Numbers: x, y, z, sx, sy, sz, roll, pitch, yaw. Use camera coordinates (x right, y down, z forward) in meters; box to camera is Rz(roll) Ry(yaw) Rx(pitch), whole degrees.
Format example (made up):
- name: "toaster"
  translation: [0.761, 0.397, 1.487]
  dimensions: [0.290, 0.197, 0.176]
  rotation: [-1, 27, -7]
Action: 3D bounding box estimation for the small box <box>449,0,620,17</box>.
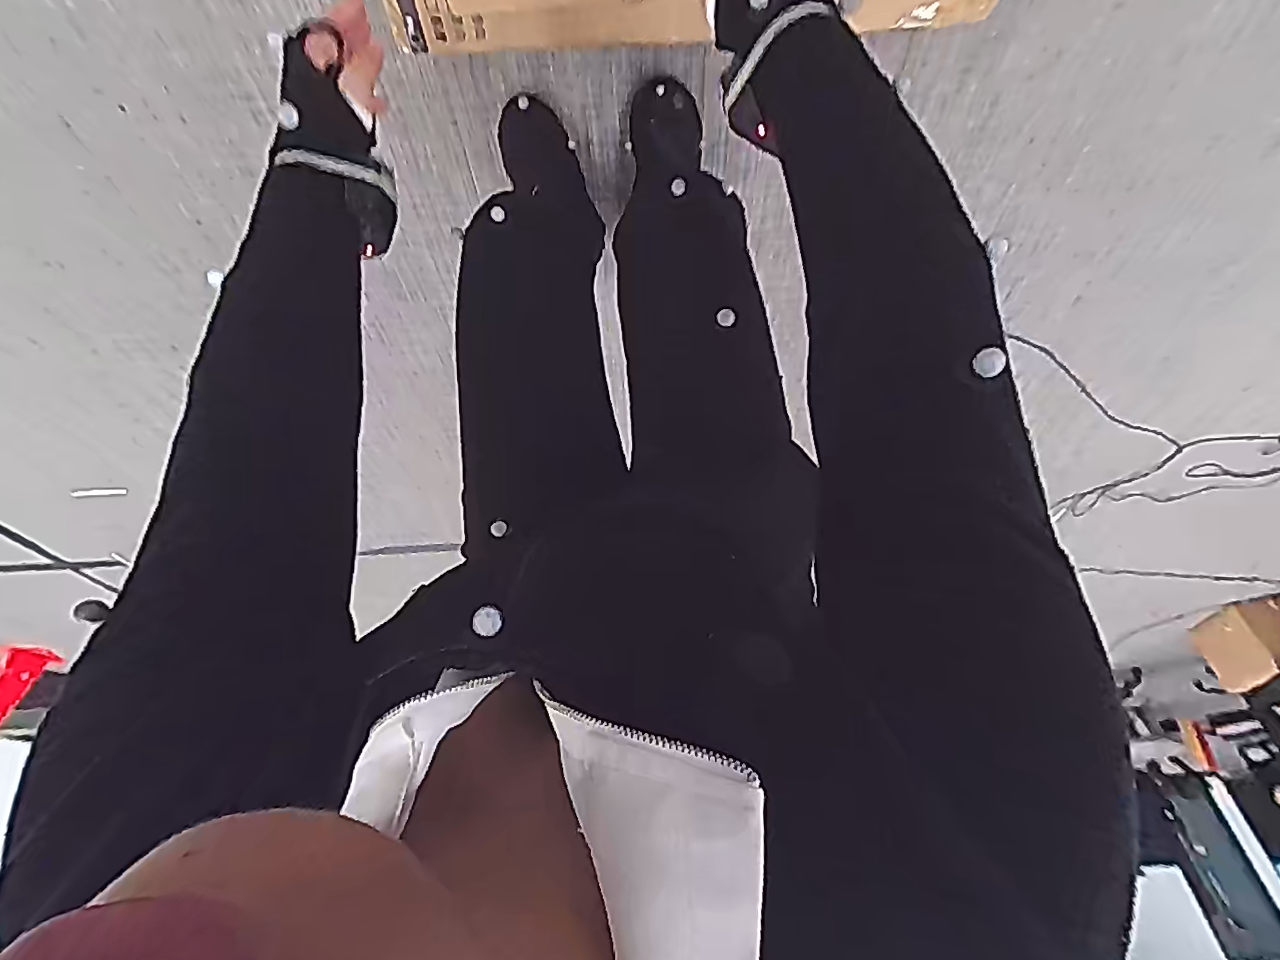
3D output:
- name: "small box"
  translation: [-0.108, -0.568, 0.500]
  dimensions: [0.168, 0.176, 0.179]
  rotation: [-4, 144, 1]
